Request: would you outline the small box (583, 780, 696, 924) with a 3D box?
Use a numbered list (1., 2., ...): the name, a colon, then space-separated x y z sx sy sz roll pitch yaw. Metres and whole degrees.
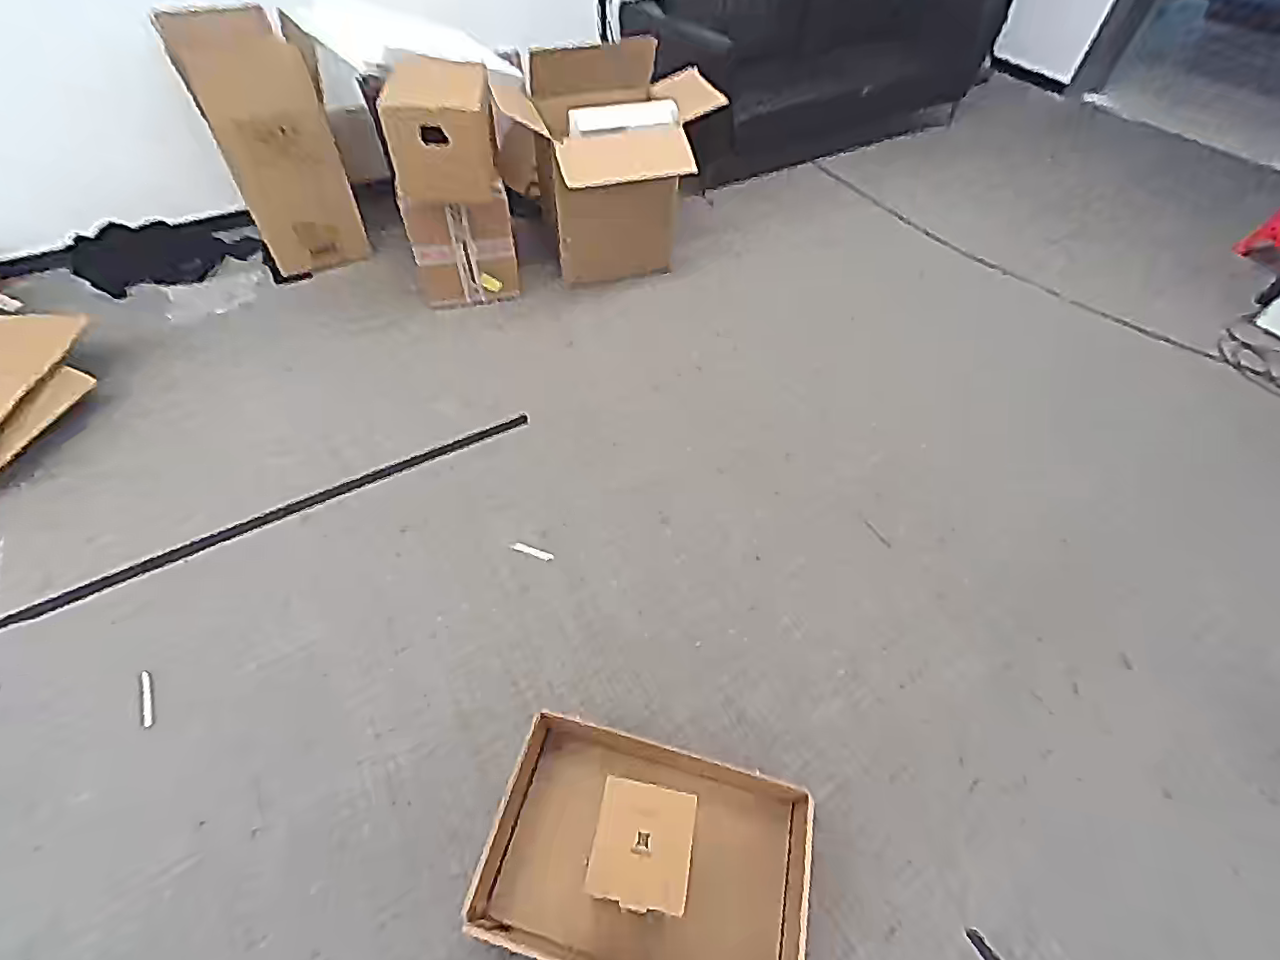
1. small box: 0.001 0.665 0.969 0.168 0.176 0.179 10 52 4
